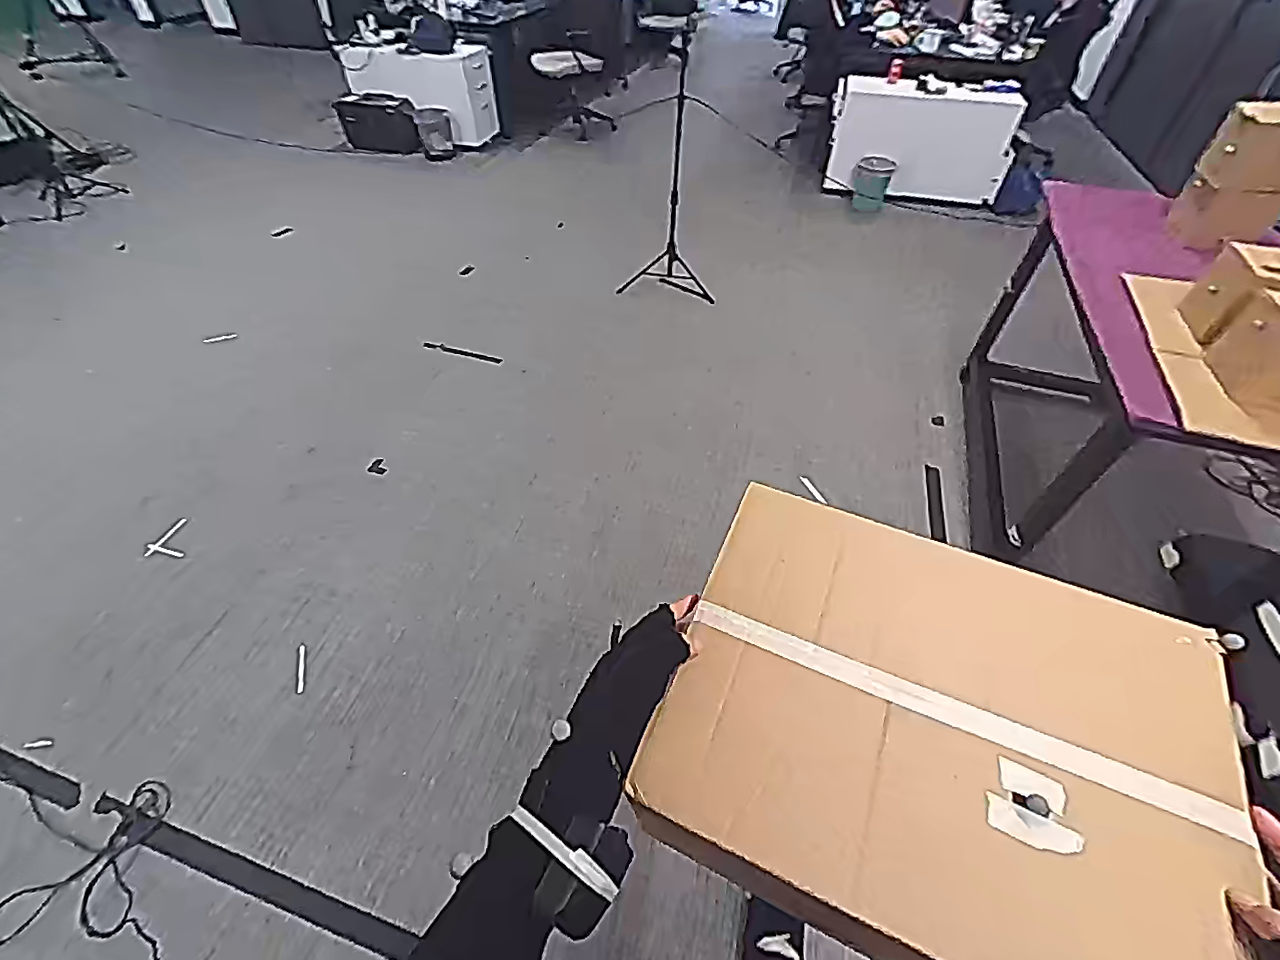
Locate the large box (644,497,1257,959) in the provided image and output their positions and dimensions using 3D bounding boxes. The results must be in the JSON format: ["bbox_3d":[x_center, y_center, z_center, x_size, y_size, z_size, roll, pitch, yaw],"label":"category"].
[{"bbox_3d":[0.246,0.276,0.558,0.408,0.320,0.320,19,57,17],"label":"large box"}]
